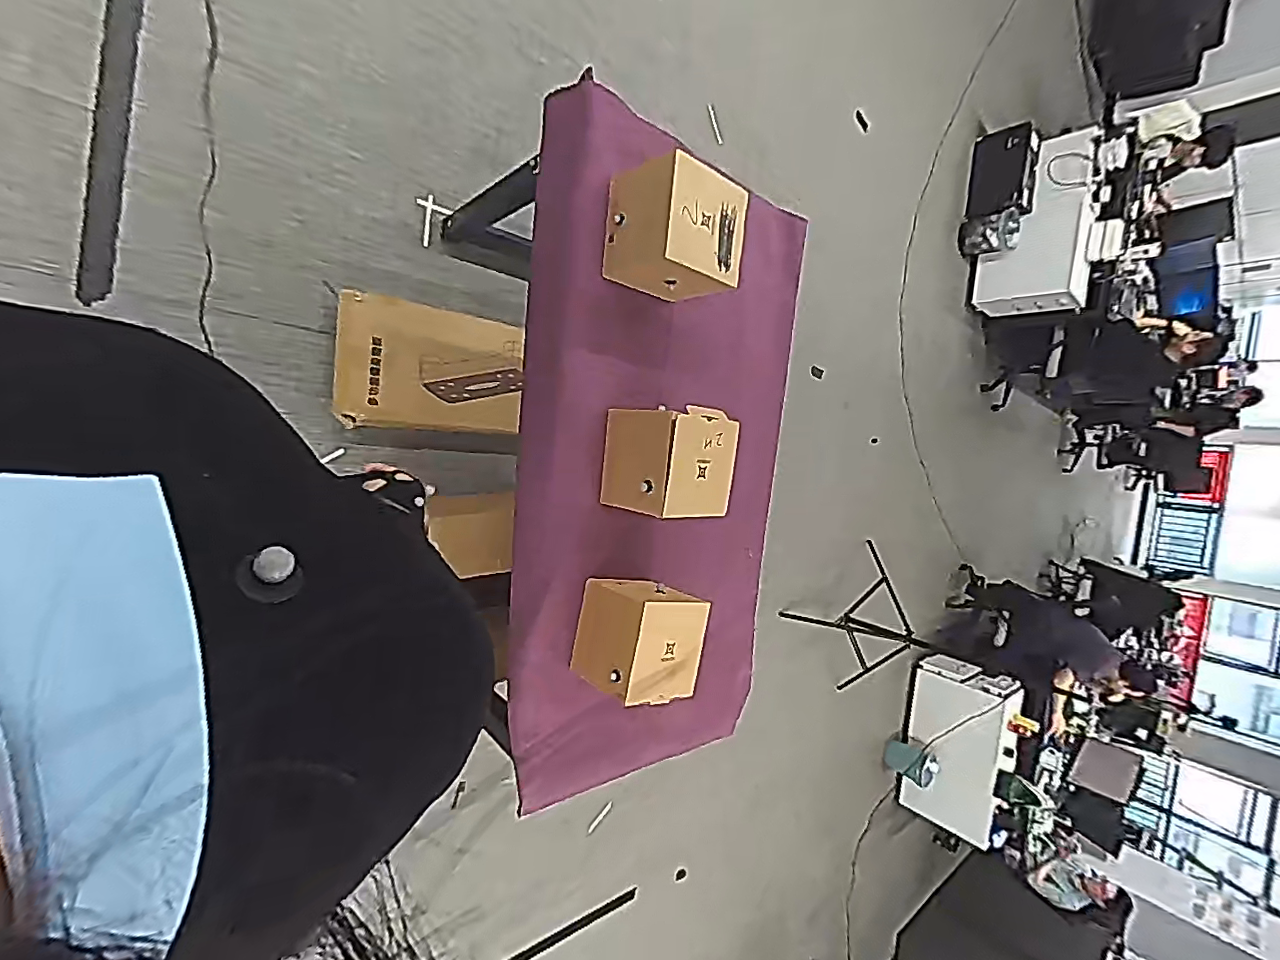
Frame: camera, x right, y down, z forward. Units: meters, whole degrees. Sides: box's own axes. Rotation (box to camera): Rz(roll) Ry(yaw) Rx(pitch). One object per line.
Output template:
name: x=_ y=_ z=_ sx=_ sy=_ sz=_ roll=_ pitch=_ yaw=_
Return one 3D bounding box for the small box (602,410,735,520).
small box: x=0.048 y=-0.029 z=0.981 sx=0.168 sy=0.176 sz=0.179 roll=2 pitch=95 yaw=-44

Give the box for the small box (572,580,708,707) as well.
small box: x=-0.003 y=0.286 z=0.986 sx=0.168 sy=0.176 sz=0.179 roll=12 pitch=89 yaw=-41
